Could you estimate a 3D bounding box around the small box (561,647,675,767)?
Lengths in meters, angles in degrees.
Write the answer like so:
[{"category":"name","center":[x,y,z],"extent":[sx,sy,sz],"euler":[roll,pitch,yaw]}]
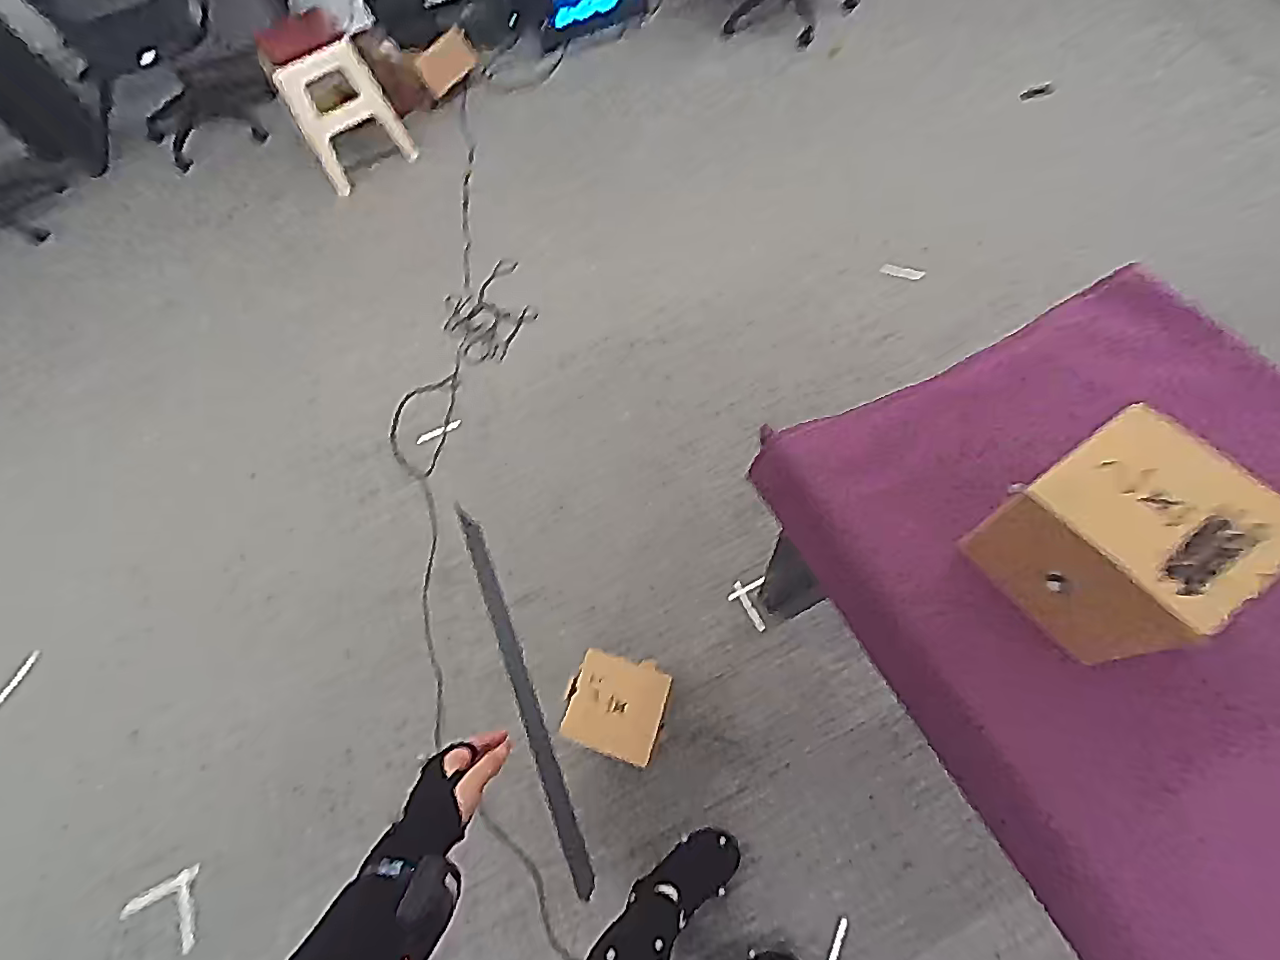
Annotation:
[{"category":"small box","center":[-0.033,0.451,1.077],"extent":[0.179,0.176,0.168],"euler":[15,66,13]}]
